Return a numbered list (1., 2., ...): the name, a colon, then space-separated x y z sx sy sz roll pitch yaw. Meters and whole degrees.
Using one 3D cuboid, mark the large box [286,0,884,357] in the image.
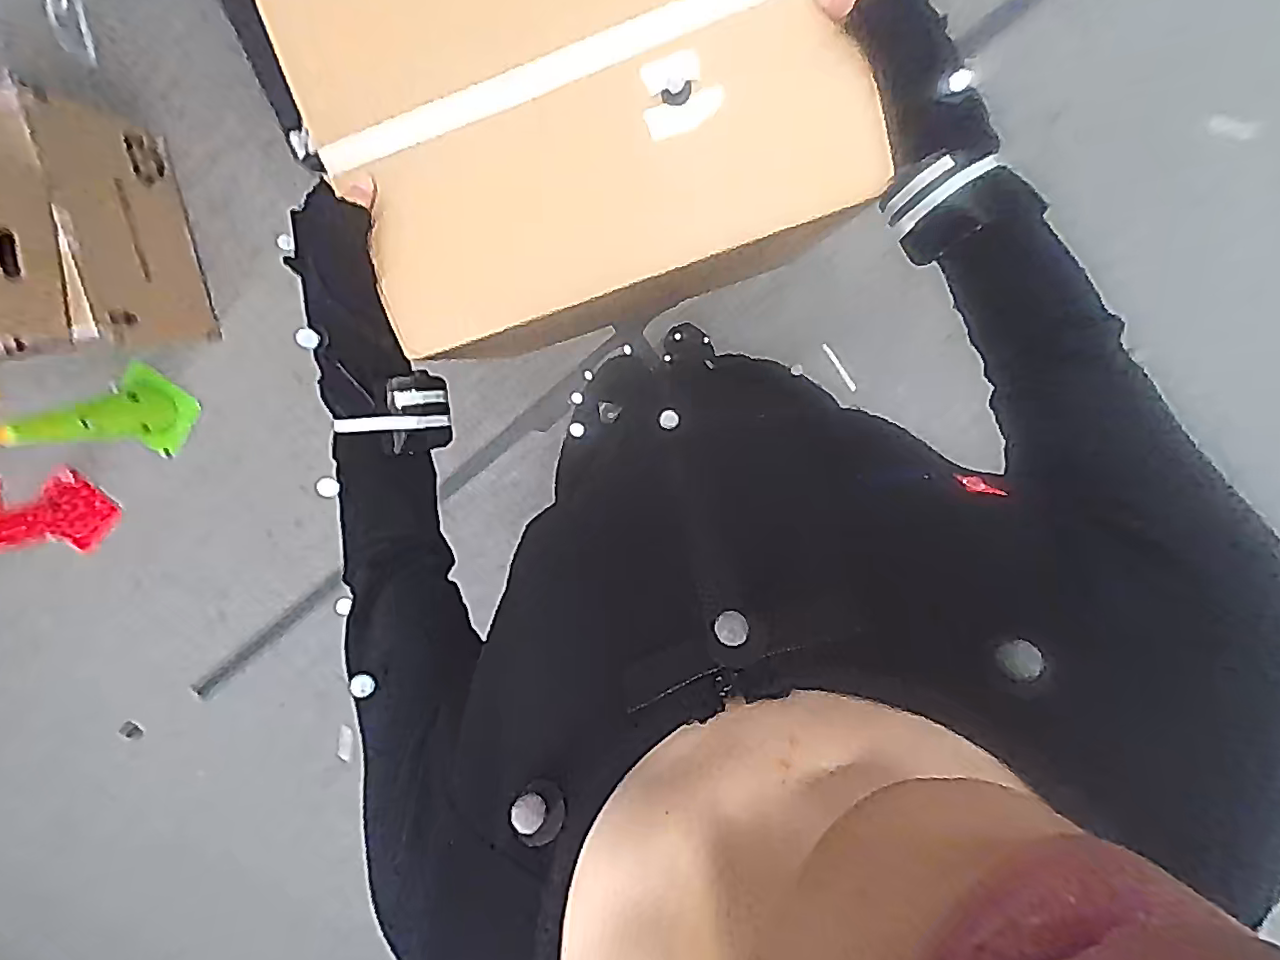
1. large box: -0.039 -0.340 0.556 0.408 0.320 0.320 -17 101 5
